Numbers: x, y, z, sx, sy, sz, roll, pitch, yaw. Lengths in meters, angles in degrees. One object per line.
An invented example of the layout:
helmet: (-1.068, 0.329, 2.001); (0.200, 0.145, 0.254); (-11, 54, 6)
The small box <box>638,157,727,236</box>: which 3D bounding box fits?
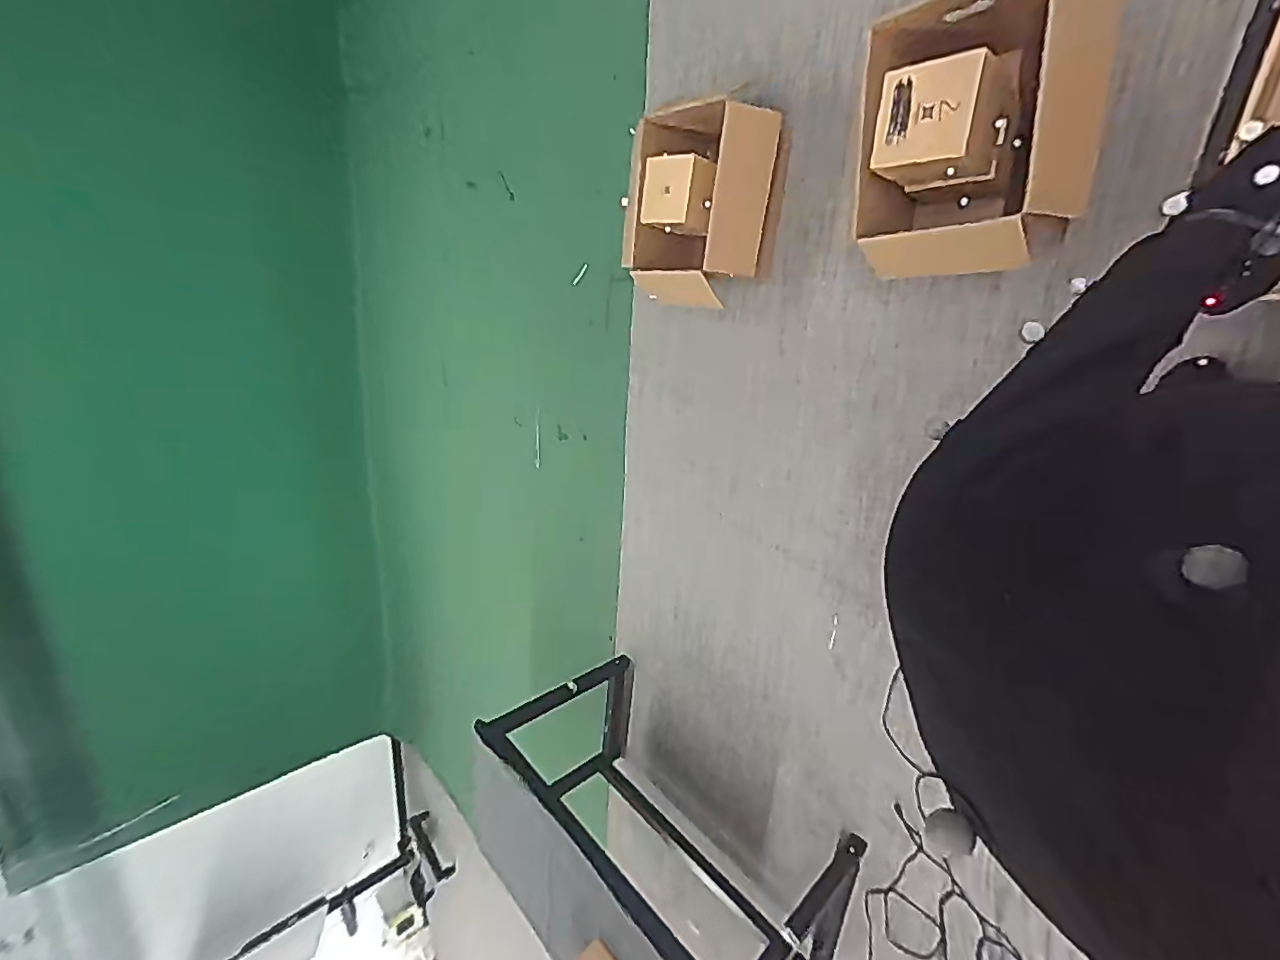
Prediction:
small box: (0.122, -0.792, 1.522); (0.179, 0.176, 0.168); (24, 114, 40)
